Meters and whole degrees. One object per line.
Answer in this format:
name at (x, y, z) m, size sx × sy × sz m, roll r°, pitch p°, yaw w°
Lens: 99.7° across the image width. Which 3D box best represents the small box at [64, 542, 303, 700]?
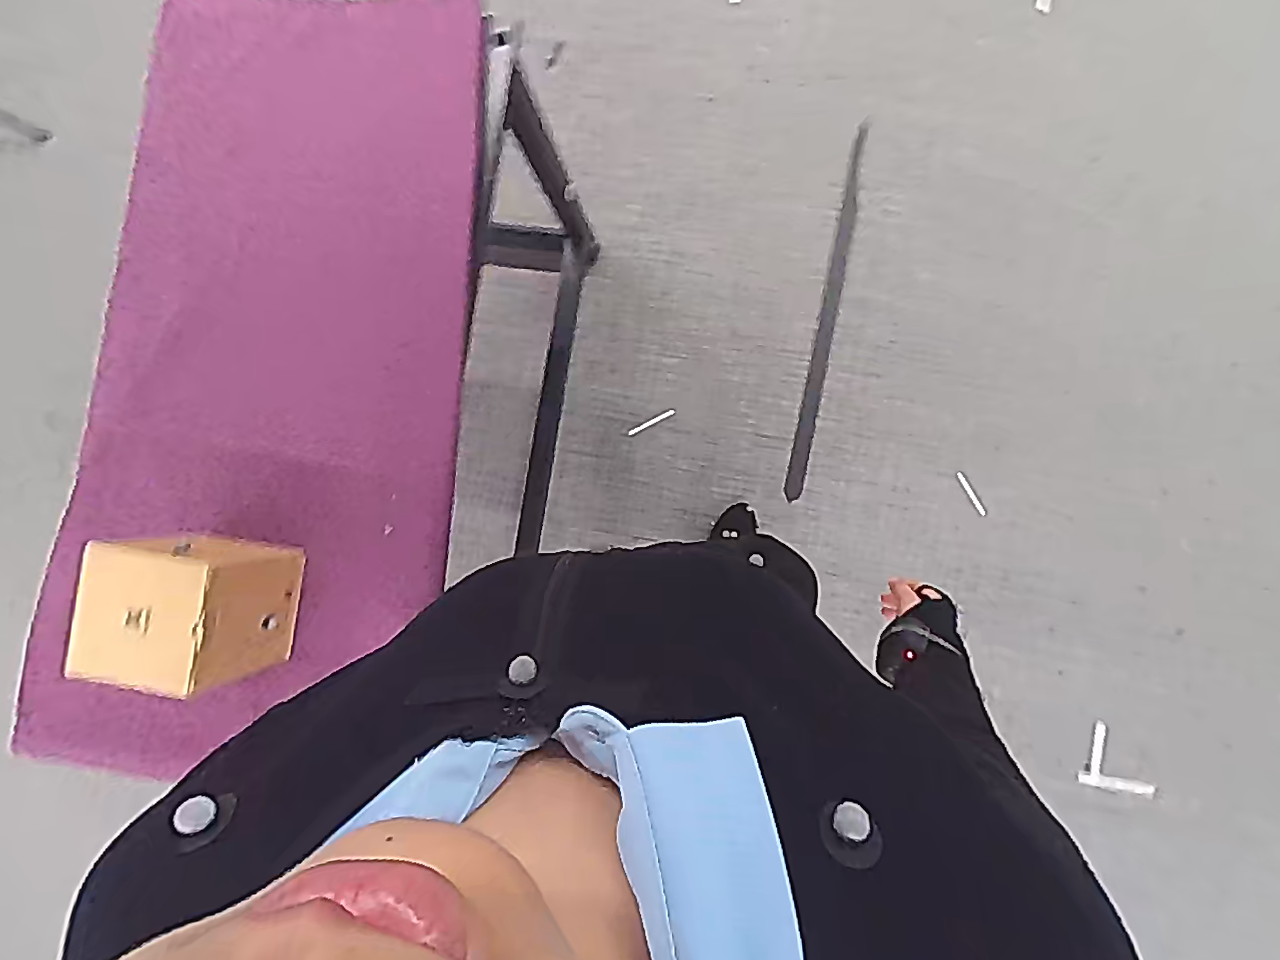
small box at (-0.616, 0.181, 0.749) m, size 0.179 × 0.176 × 0.168 m, roll 8°, pitch 88°, yaw 5°
